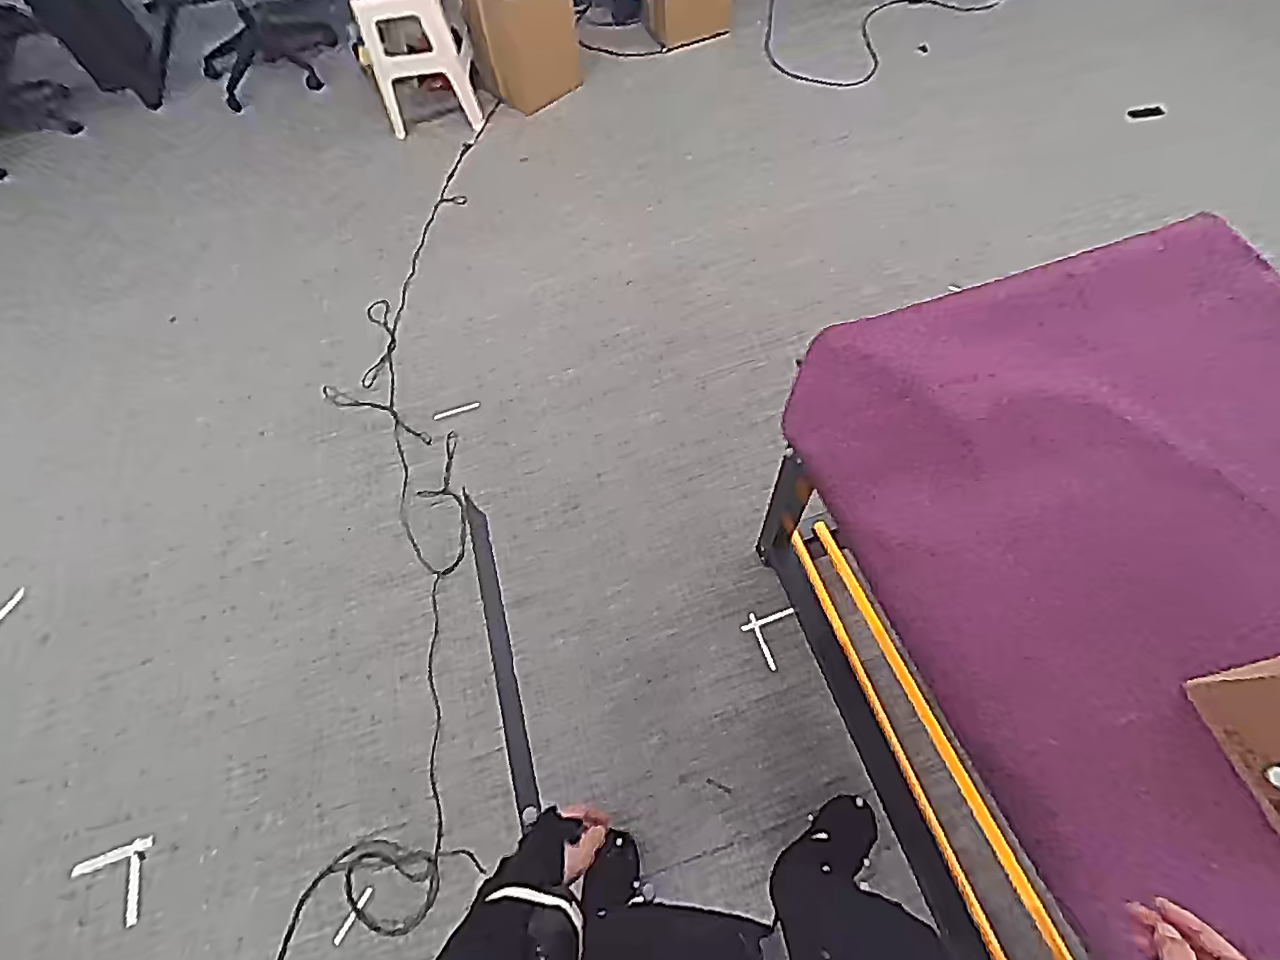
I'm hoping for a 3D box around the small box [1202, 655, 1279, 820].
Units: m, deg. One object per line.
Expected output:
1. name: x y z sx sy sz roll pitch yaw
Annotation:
1. small box: 0.617 0.204 0.408 0.179 0.176 0.168 -14 63 -1
